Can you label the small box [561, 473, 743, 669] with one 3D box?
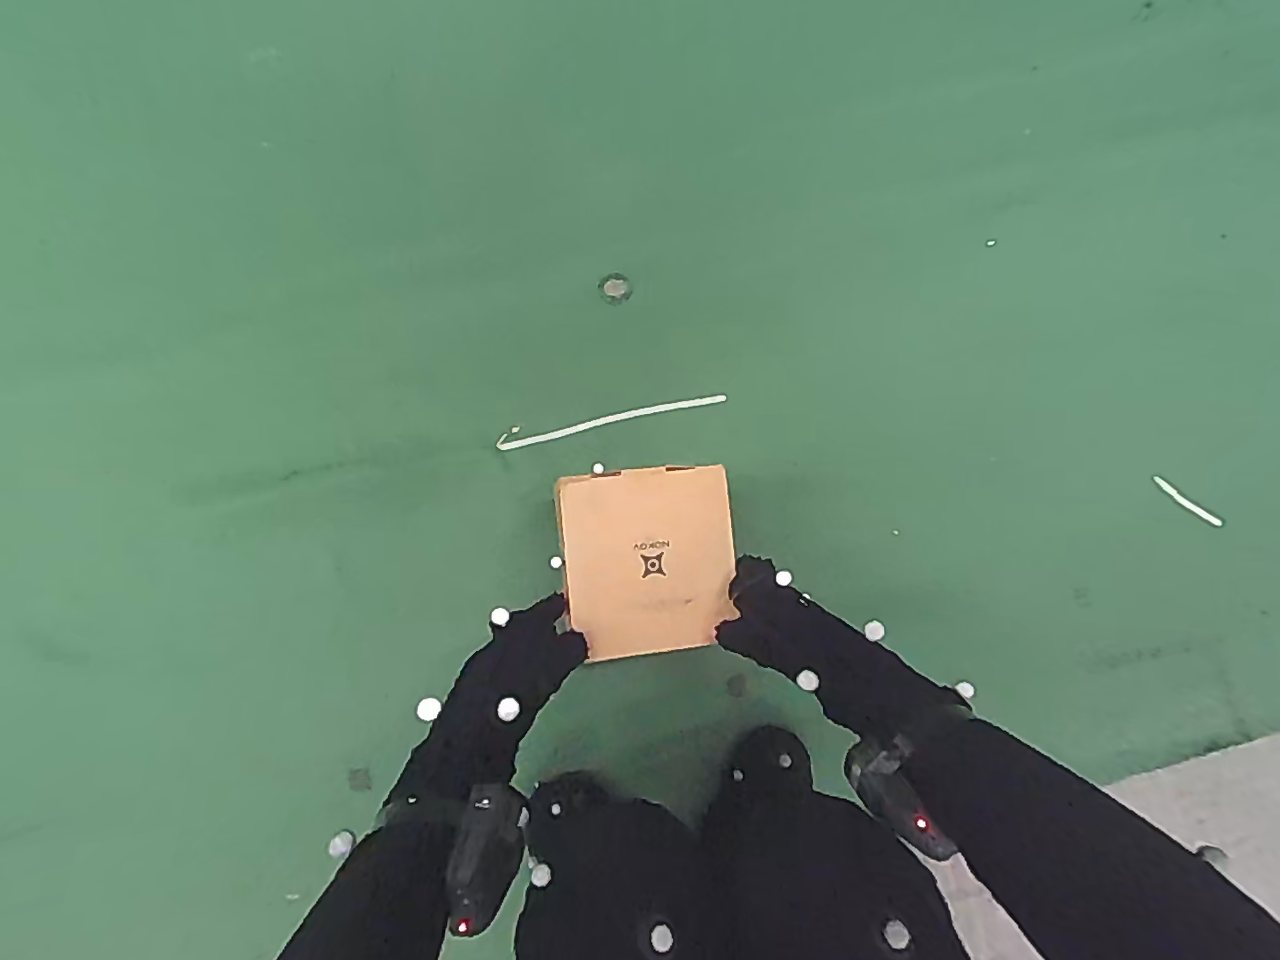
[{"bbox_3d":[0.001,0.091,0.605,0.168,0.176,0.179,-6,88,-9],"label":"small box"}]
